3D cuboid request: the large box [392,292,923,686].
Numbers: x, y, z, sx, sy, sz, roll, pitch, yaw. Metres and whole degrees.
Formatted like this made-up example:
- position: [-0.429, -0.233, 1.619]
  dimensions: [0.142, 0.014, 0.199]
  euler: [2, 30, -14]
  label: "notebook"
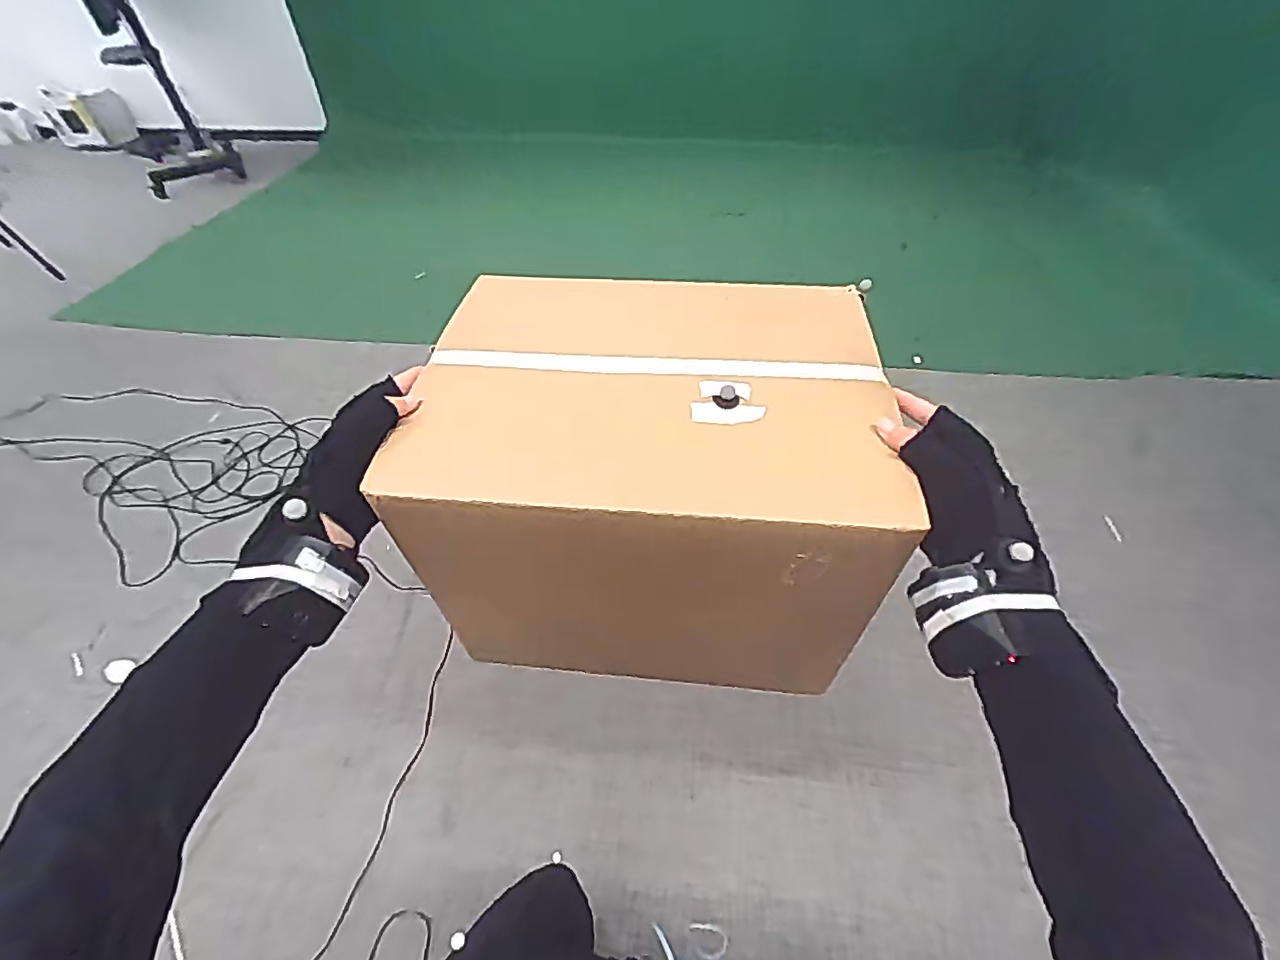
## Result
- position: [0.019, 0.012, 0.605]
  dimensions: [0.408, 0.320, 0.320]
  euler: [4, 49, 4]
  label: "large box"
